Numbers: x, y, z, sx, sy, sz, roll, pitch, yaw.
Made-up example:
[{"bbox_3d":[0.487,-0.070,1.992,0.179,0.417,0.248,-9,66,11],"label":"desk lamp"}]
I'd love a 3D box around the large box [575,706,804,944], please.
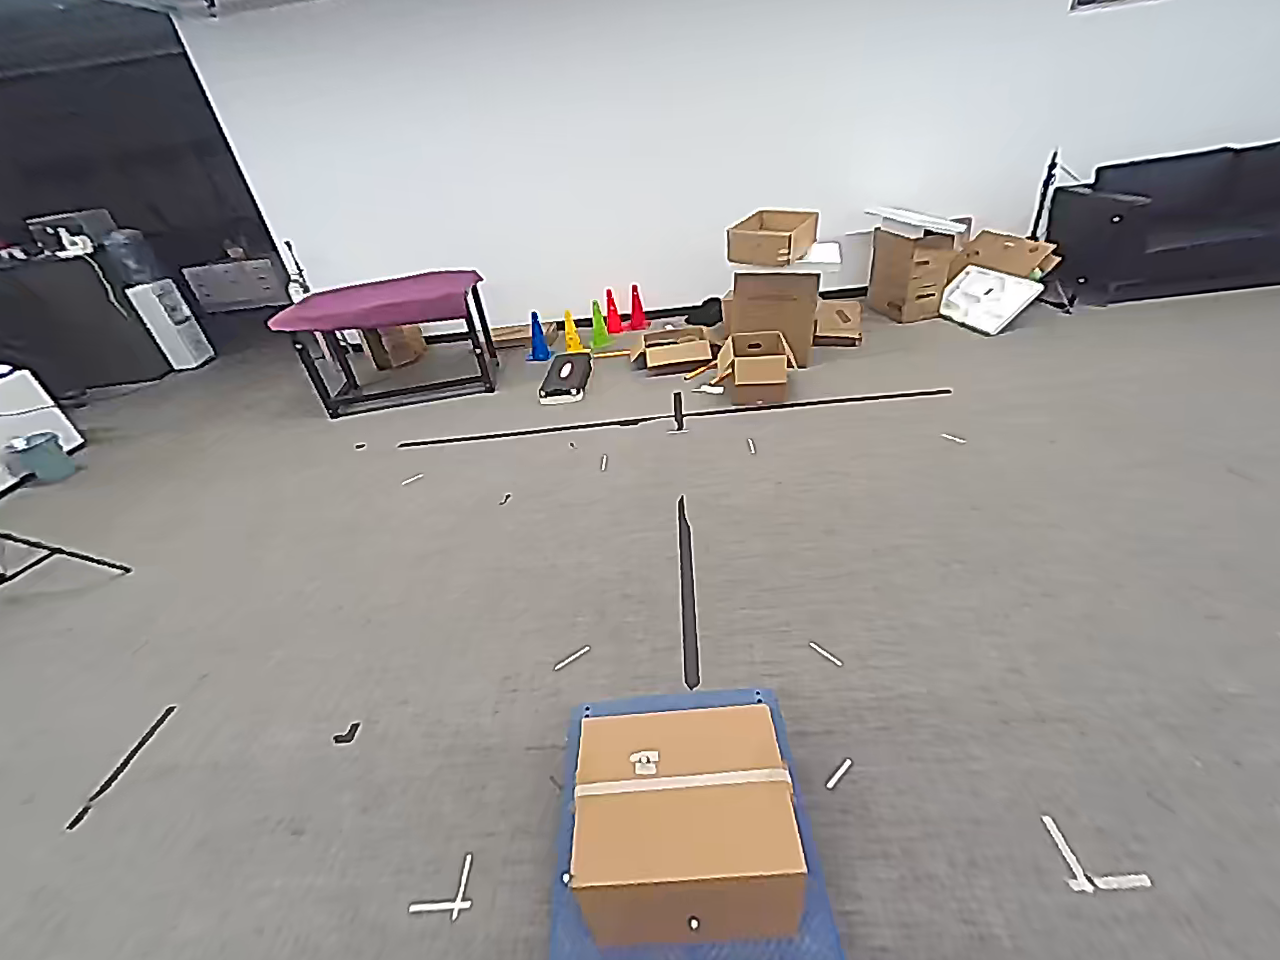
[{"bbox_3d":[0.100,0.719,1.133,0.408,0.320,0.320,-7,33,3],"label":"large box"}]
